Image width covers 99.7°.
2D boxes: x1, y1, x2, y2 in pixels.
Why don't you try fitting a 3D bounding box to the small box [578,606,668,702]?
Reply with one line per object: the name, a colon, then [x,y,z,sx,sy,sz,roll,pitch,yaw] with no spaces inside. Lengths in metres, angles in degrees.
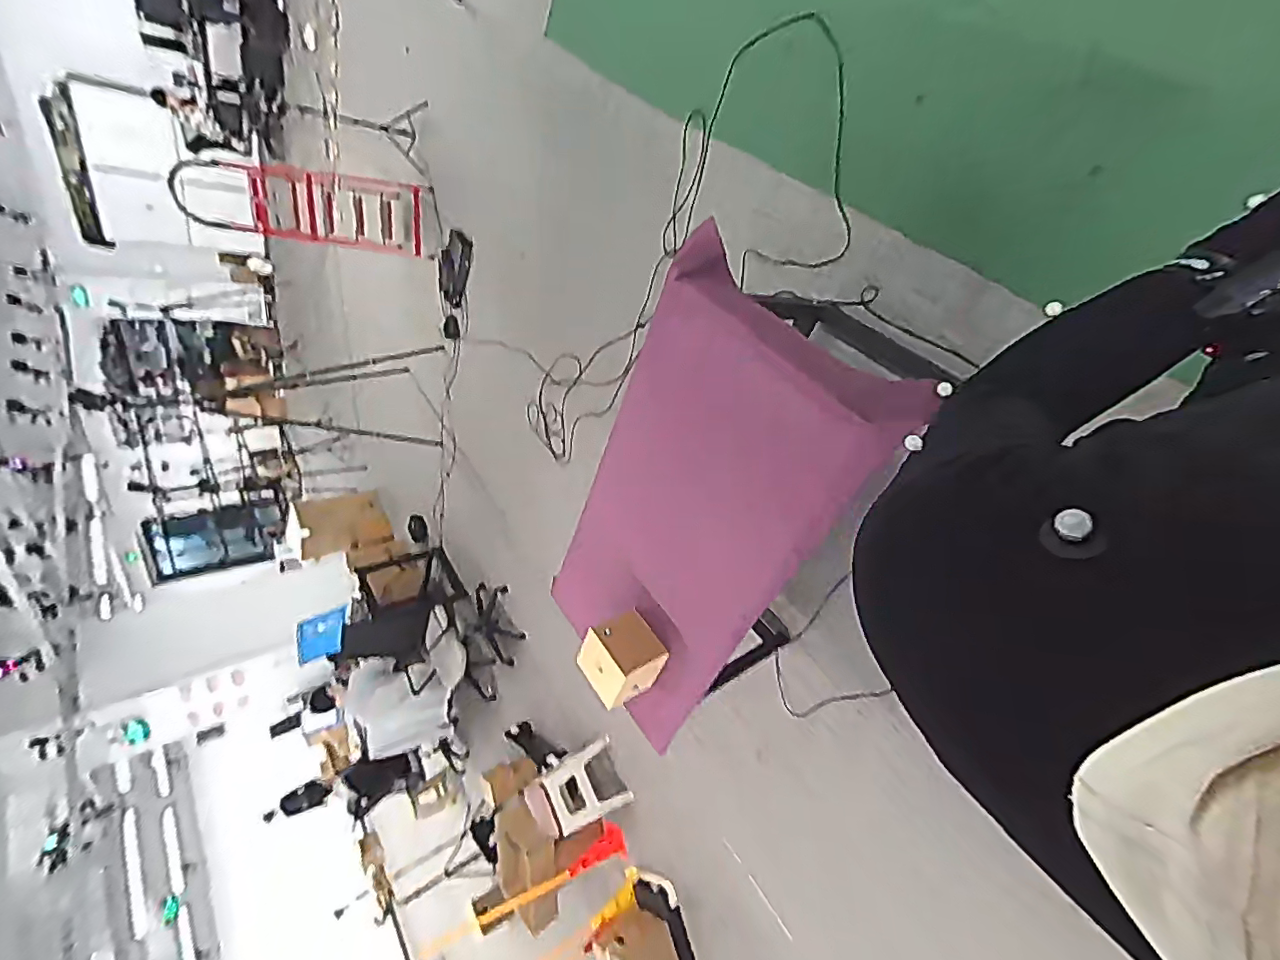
small box: [-0.047,0.492,1.551,0.179,0.176,0.168,47,132,32]
